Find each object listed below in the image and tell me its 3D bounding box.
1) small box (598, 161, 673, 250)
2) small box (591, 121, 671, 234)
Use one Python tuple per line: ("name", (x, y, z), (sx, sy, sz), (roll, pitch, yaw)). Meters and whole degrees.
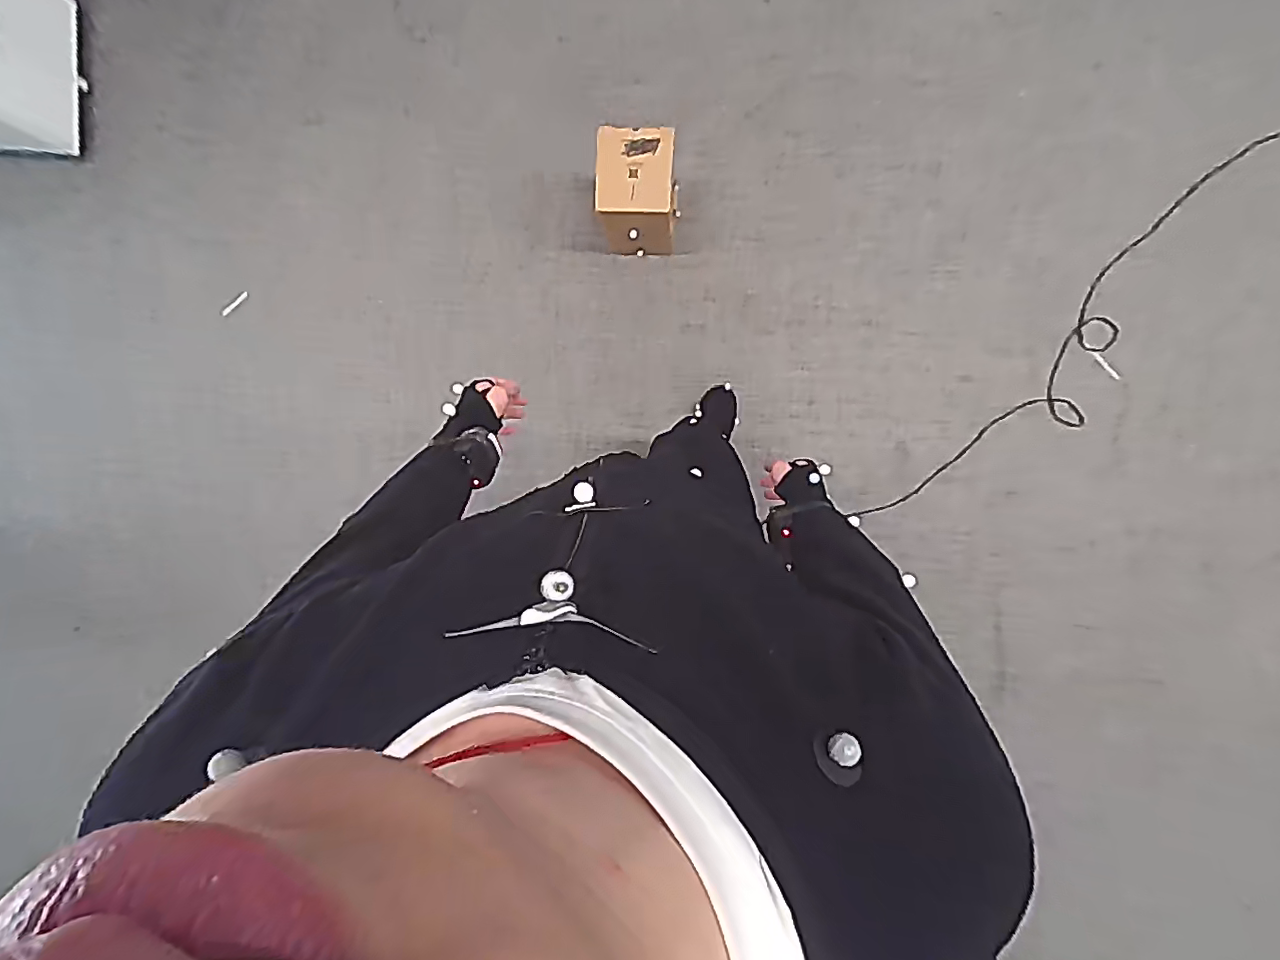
("small box", (-0.008, -0.708, 1.401), (0.179, 0.176, 0.168), (4, 96, 2))
("small box", (-0.017, -0.685, 1.238), (0.168, 0.176, 0.179), (3, 96, 3))
